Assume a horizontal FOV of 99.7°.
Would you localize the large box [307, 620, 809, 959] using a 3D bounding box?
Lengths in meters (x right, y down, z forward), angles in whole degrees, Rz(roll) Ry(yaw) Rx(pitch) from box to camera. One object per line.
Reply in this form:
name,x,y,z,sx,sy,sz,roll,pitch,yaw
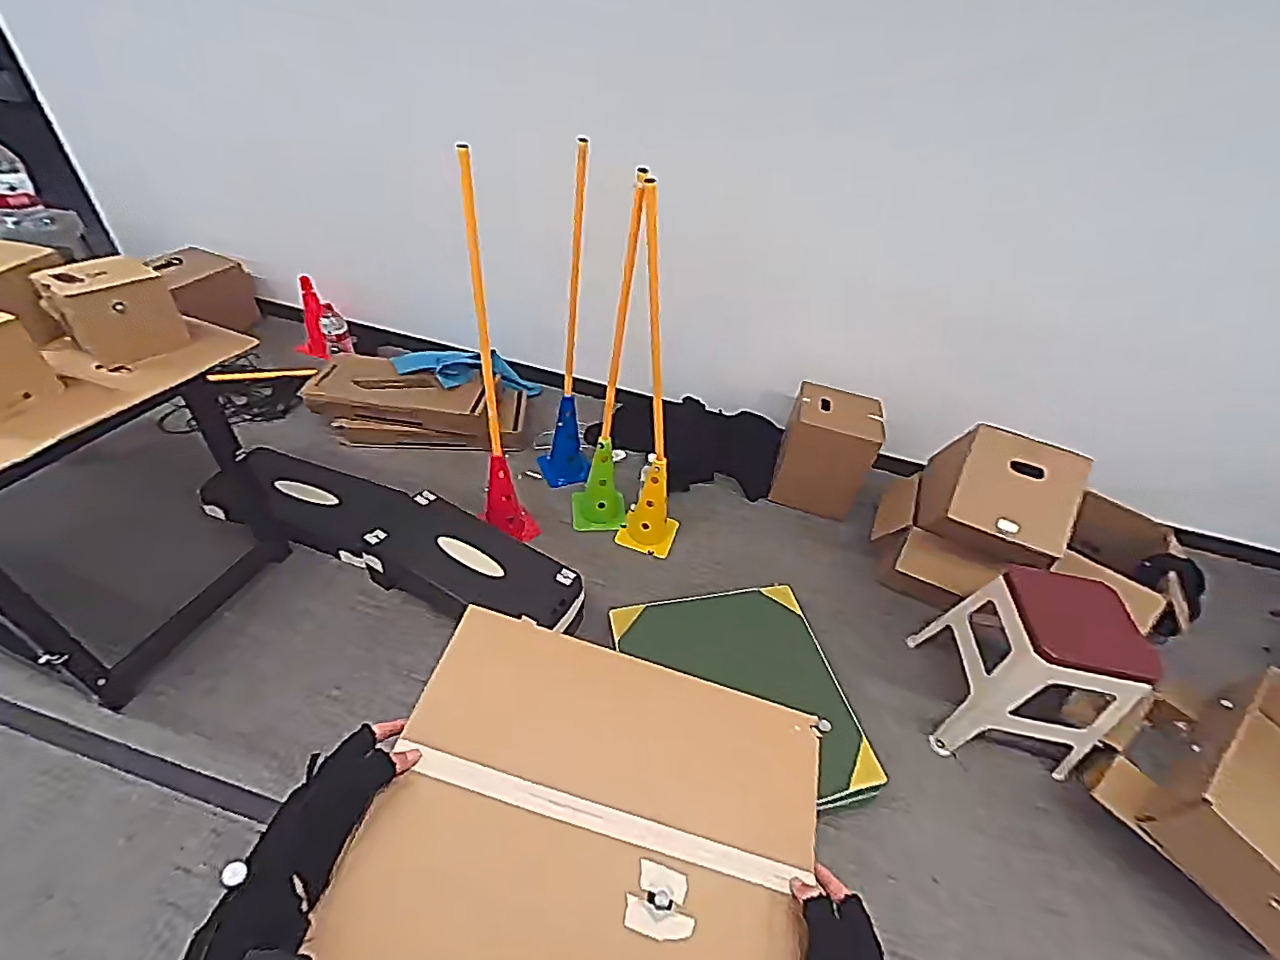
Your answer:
large box,-0.064,0.416,0.620,0.408,0.320,0.320,18,49,2
